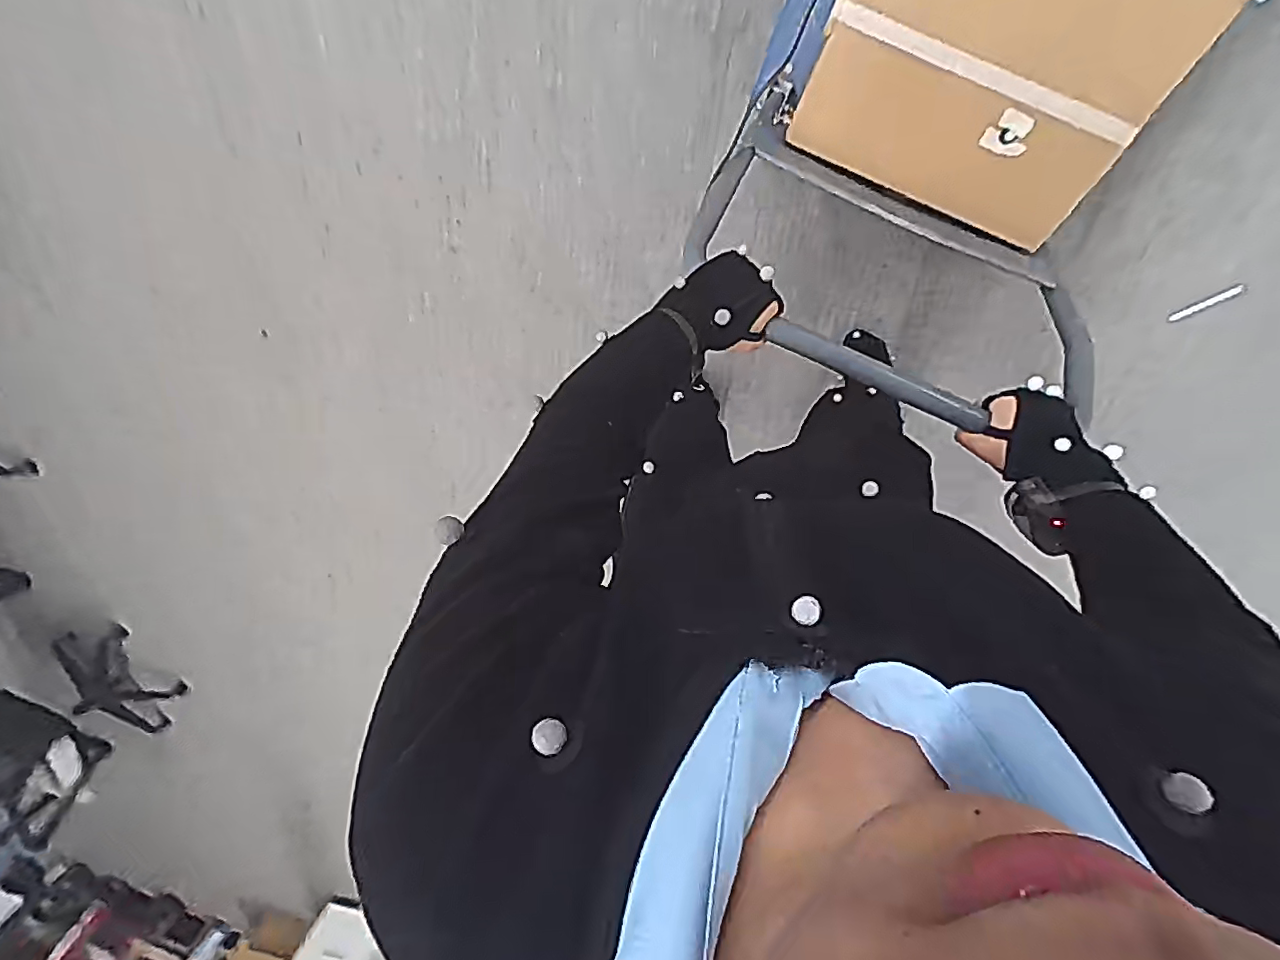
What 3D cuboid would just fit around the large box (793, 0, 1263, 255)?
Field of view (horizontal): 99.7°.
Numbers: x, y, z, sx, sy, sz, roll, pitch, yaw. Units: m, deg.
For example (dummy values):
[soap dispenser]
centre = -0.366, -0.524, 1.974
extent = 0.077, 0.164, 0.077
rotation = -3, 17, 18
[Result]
[large box]
centre = 0.480, -0.594, 0.776
extent = 0.408, 0.320, 0.320
rotation = 24, 136, -1
